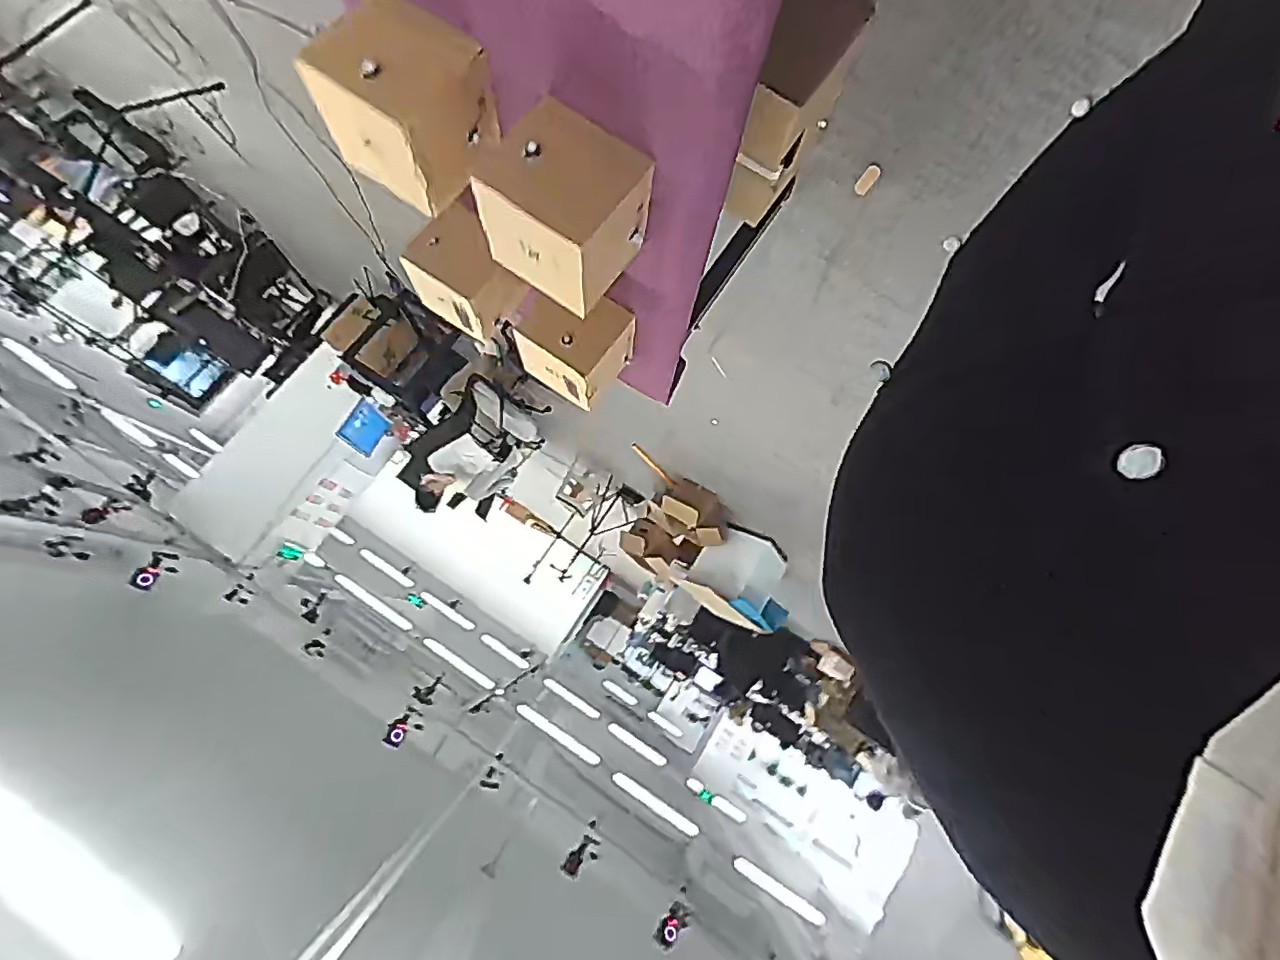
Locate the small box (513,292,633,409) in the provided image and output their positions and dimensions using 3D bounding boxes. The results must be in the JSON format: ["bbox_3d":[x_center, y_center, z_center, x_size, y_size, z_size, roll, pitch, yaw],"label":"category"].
[{"bbox_3d":[-0.130,-0.284,1.116,0.179,0.176,0.168,35,165,6],"label":"small box"}]

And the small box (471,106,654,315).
[{"bbox_3d":[-0.104,-0.380,0.766,0.179,0.176,0.168,34,166,4],"label":"small box"}]

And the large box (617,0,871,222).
[{"bbox_3d":[0.204,-0.867,1.180,0.408,0.320,0.320,35,165,5],"label":"large box"}]

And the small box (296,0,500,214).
[{"bbox_3d":[-0.330,-0.536,0.776,0.179,0.176,0.168,33,165,3],"label":"small box"}]
